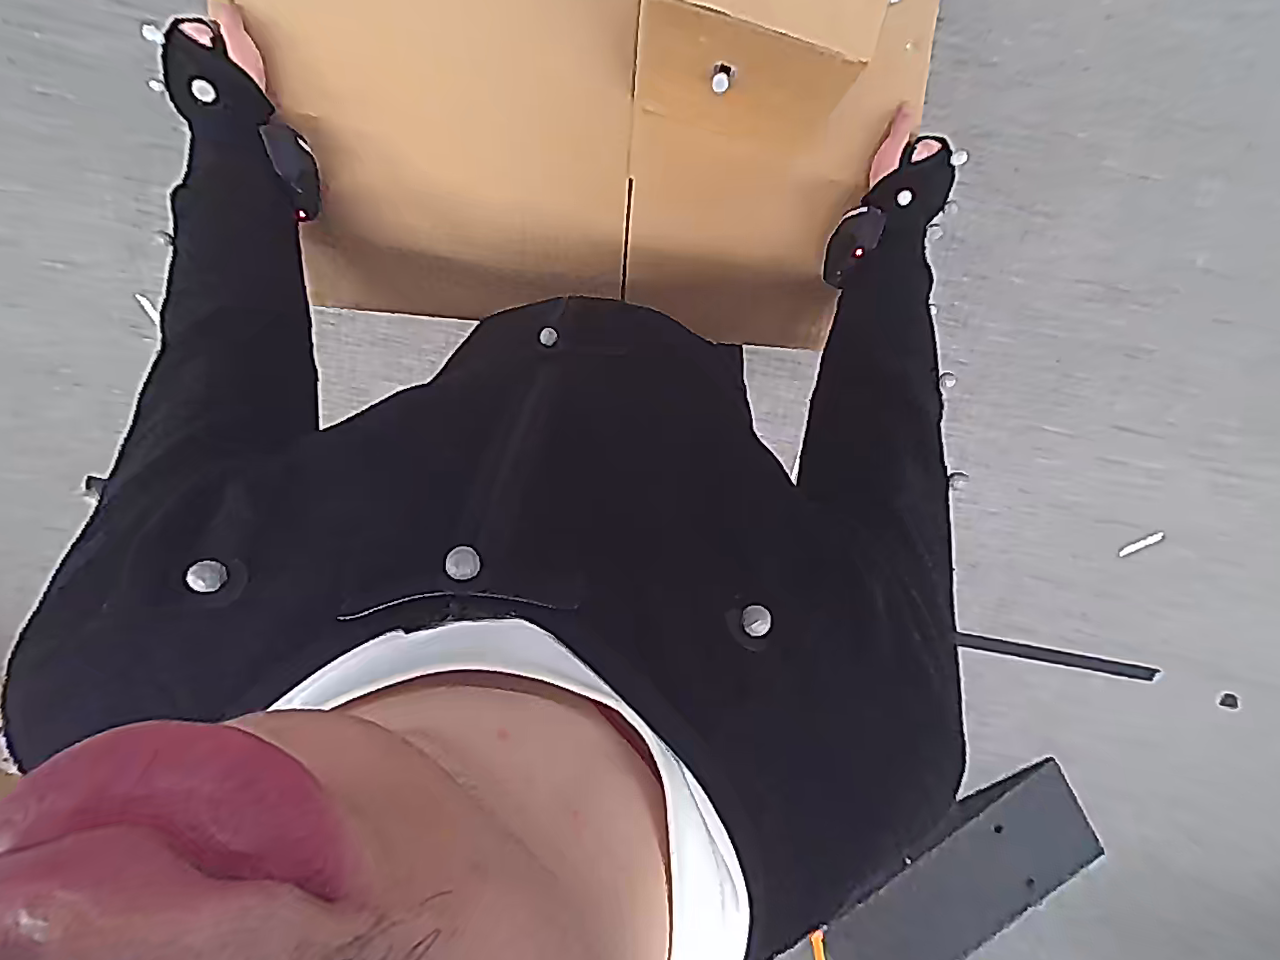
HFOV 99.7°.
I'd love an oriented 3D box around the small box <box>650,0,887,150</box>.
[{"bbox_3d":[0.111,-0.426,0.475,0.179,0.176,0.168,15,99,-3],"label":"small box"}]
